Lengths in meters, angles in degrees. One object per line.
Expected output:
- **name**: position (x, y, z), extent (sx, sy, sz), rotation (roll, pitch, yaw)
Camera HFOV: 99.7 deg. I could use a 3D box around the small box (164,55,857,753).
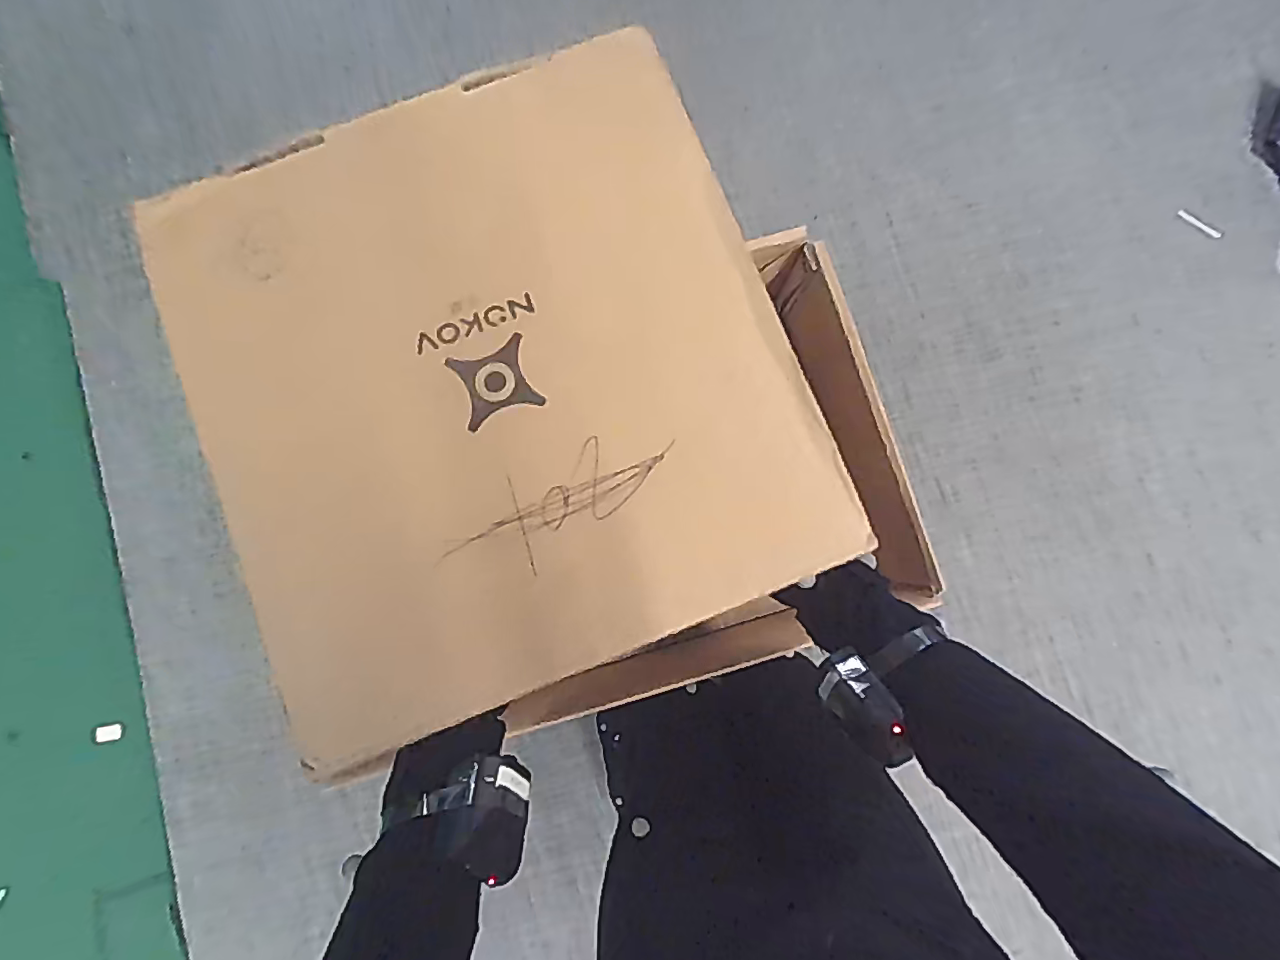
- **small box**: position (-0.042, -0.021, 0.243), extent (0.168, 0.176, 0.179), rotation (-22, 84, -2)
